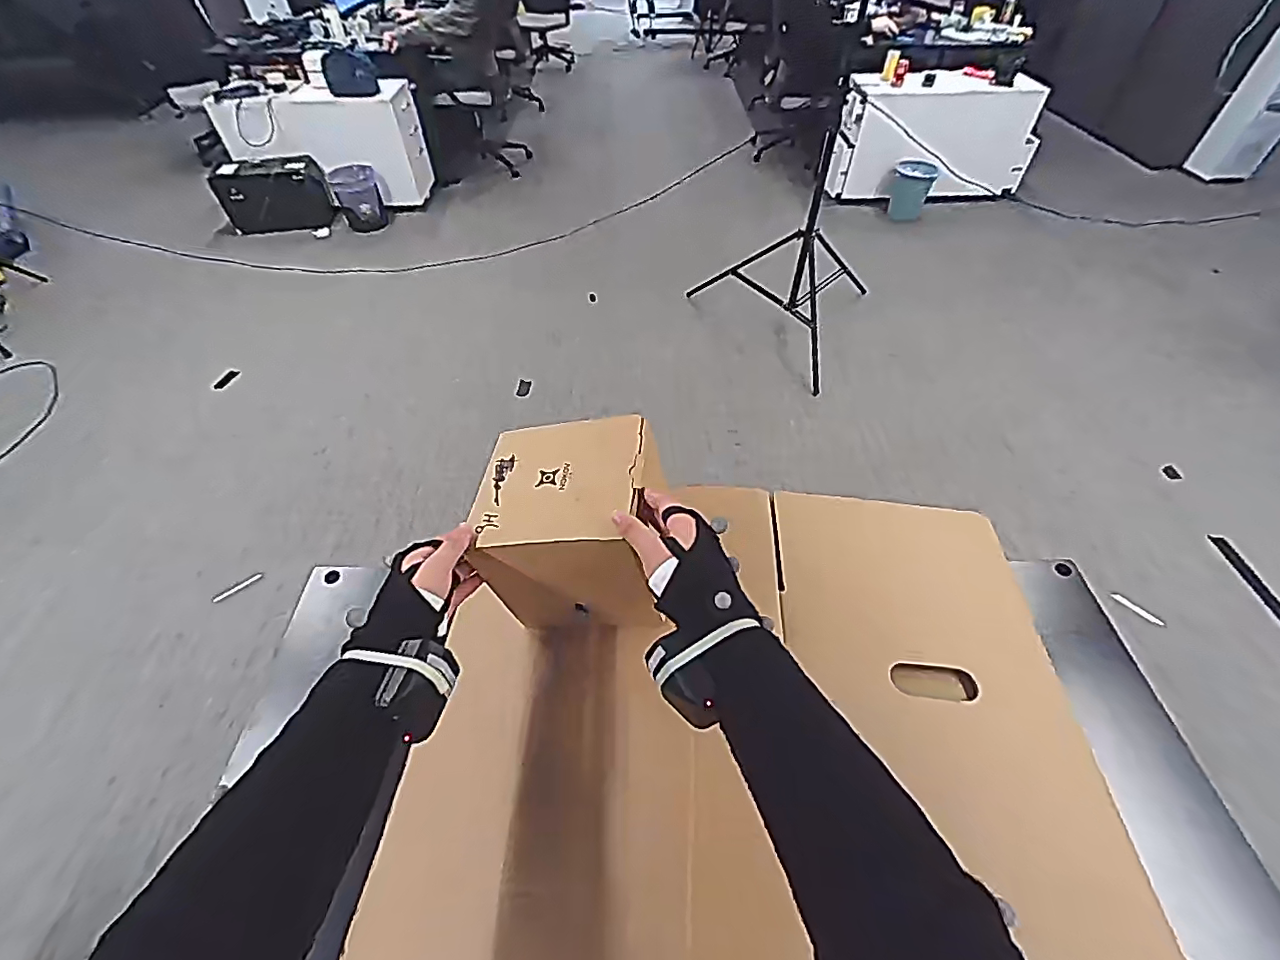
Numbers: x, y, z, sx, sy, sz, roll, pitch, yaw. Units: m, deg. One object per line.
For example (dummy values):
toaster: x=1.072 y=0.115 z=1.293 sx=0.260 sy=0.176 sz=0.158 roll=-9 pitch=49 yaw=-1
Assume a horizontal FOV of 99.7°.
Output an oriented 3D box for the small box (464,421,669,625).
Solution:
small box: x=-0.066 y=0.055 z=0.622 sx=0.179 sy=0.176 sz=0.168 roll=-5 pitch=48 yaw=13
